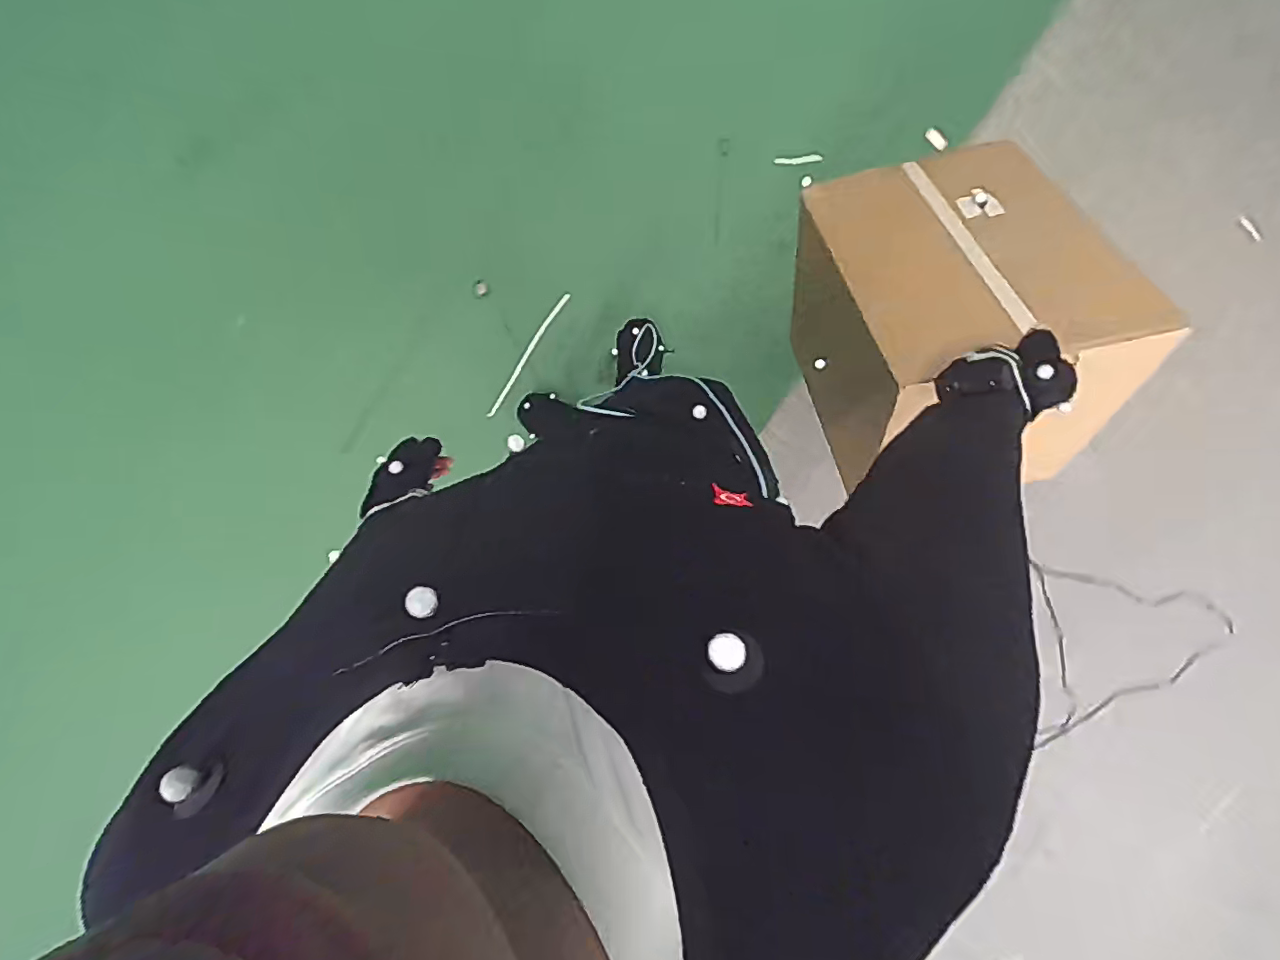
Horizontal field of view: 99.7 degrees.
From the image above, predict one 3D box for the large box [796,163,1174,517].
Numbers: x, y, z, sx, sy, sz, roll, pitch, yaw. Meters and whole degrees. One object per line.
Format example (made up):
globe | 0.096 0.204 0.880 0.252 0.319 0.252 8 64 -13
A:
large box | 0.452 -0.207 0.843 0.320 0.408 0.320 -11 146 5
